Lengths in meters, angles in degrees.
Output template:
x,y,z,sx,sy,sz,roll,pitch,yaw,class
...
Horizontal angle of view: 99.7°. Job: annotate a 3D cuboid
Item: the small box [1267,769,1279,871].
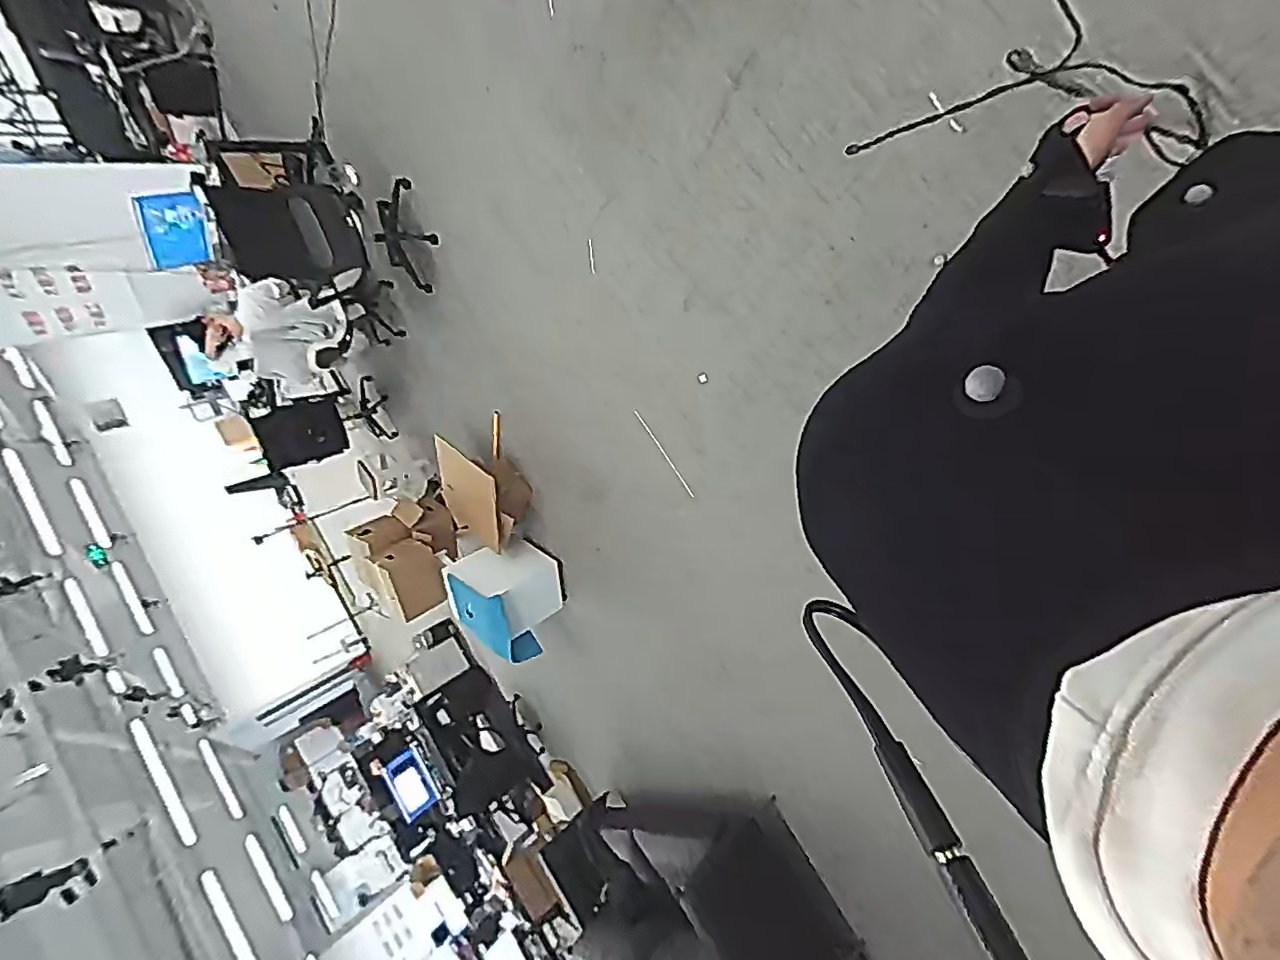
x,y,z,sx,sy,sz,roll,pitch,yaw,class
0.991,0.520,0.720,0.168,0.176,0.179,-31,86,52,small box
